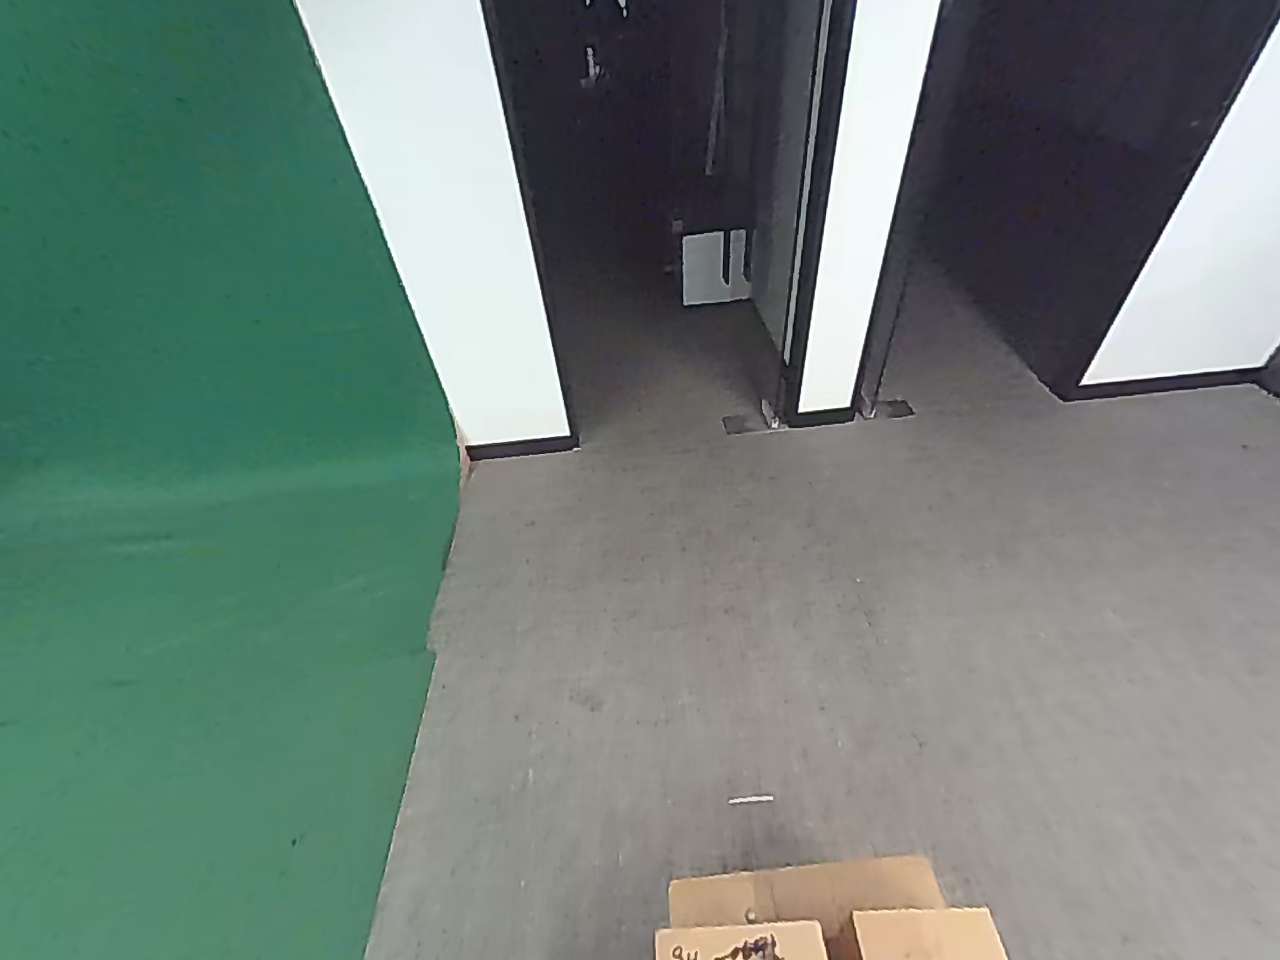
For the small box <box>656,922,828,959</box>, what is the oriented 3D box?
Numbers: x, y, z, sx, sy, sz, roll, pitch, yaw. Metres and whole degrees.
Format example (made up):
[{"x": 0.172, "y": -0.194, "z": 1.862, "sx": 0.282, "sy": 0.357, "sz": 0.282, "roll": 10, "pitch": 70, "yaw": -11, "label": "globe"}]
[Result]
[{"x": 0.106, "y": 0.557, "z": 0.529, "sx": 0.168, "sy": 0.176, "sz": 0.179, "roll": -5, "pitch": 45, "yaw": 1, "label": "small box"}]

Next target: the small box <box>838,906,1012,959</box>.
[{"x": 0.351, "y": 0.637, "z": 0.650, "sx": 0.168, "sy": 0.176, "sz": 0.179, "roll": -4, "pitch": 42, "yaw": 4, "label": "small box"}]
